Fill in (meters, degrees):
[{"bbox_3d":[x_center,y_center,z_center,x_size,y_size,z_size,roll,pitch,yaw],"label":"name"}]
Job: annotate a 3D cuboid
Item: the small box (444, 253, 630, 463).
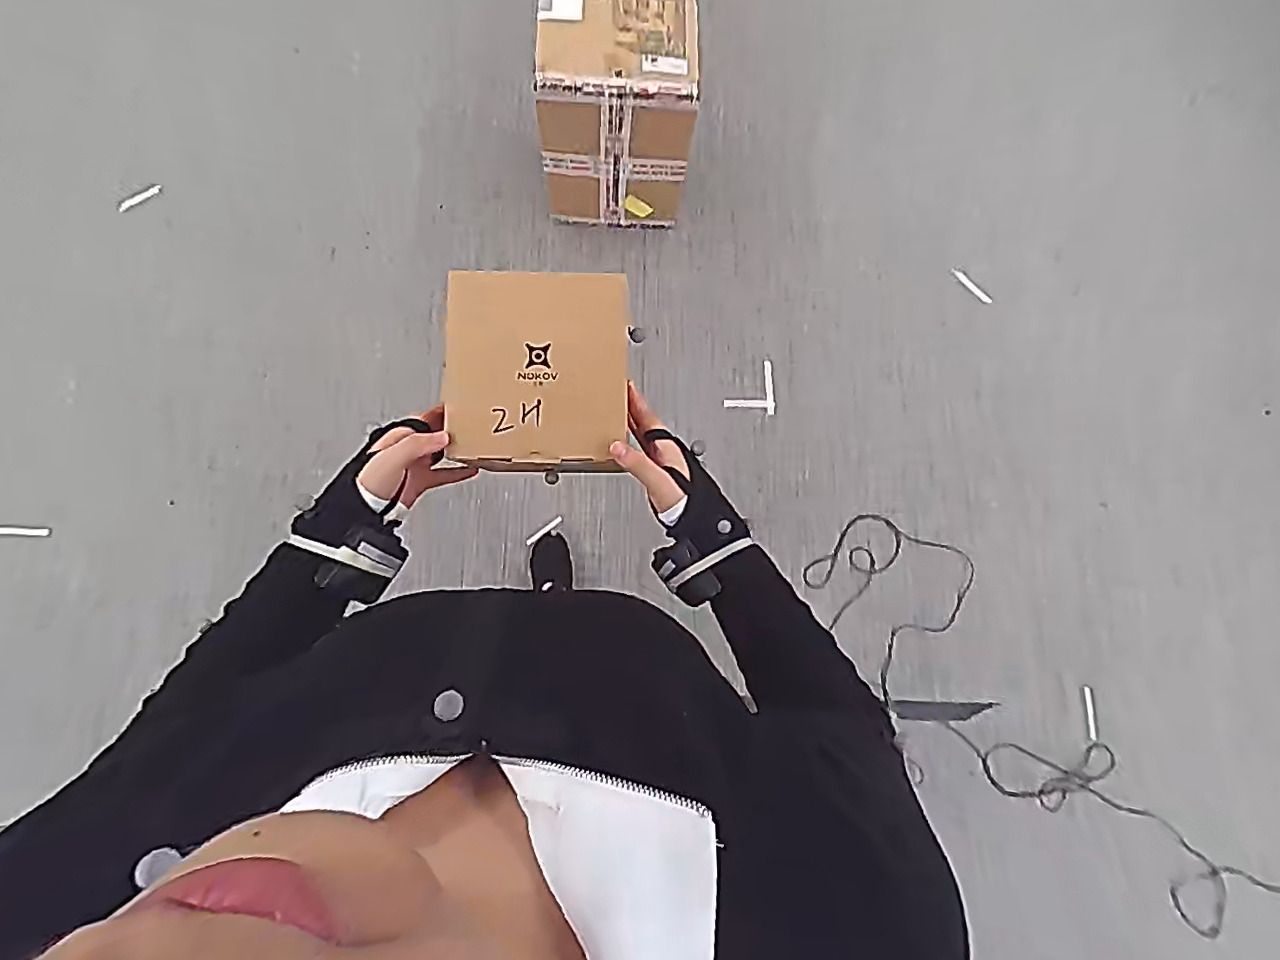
[{"bbox_3d":[-0.096,-0.115,0.572,0.168,0.176,0.179,1,87,-2],"label":"small box"}]
